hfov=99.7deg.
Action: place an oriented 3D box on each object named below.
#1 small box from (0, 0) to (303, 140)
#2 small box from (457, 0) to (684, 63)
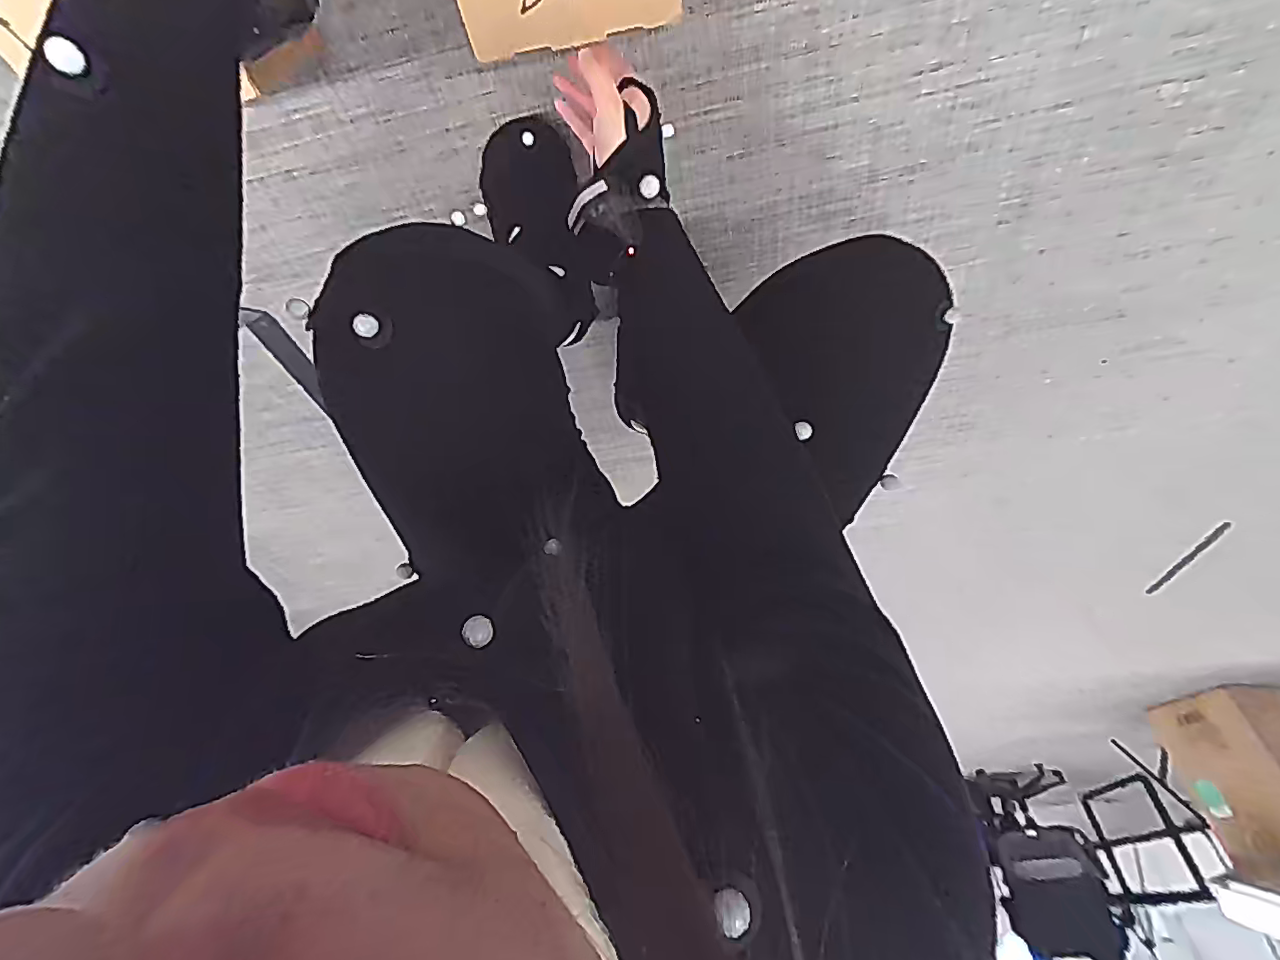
[{"bbox_3d":[-0.406,-0.406,0.430,0.179,0.176,0.168,-8,141,5],"label":"small box"},{"bbox_3d":[-0.062,-0.448,0.396,0.168,0.176,0.179,-7,142,6],"label":"small box"}]
